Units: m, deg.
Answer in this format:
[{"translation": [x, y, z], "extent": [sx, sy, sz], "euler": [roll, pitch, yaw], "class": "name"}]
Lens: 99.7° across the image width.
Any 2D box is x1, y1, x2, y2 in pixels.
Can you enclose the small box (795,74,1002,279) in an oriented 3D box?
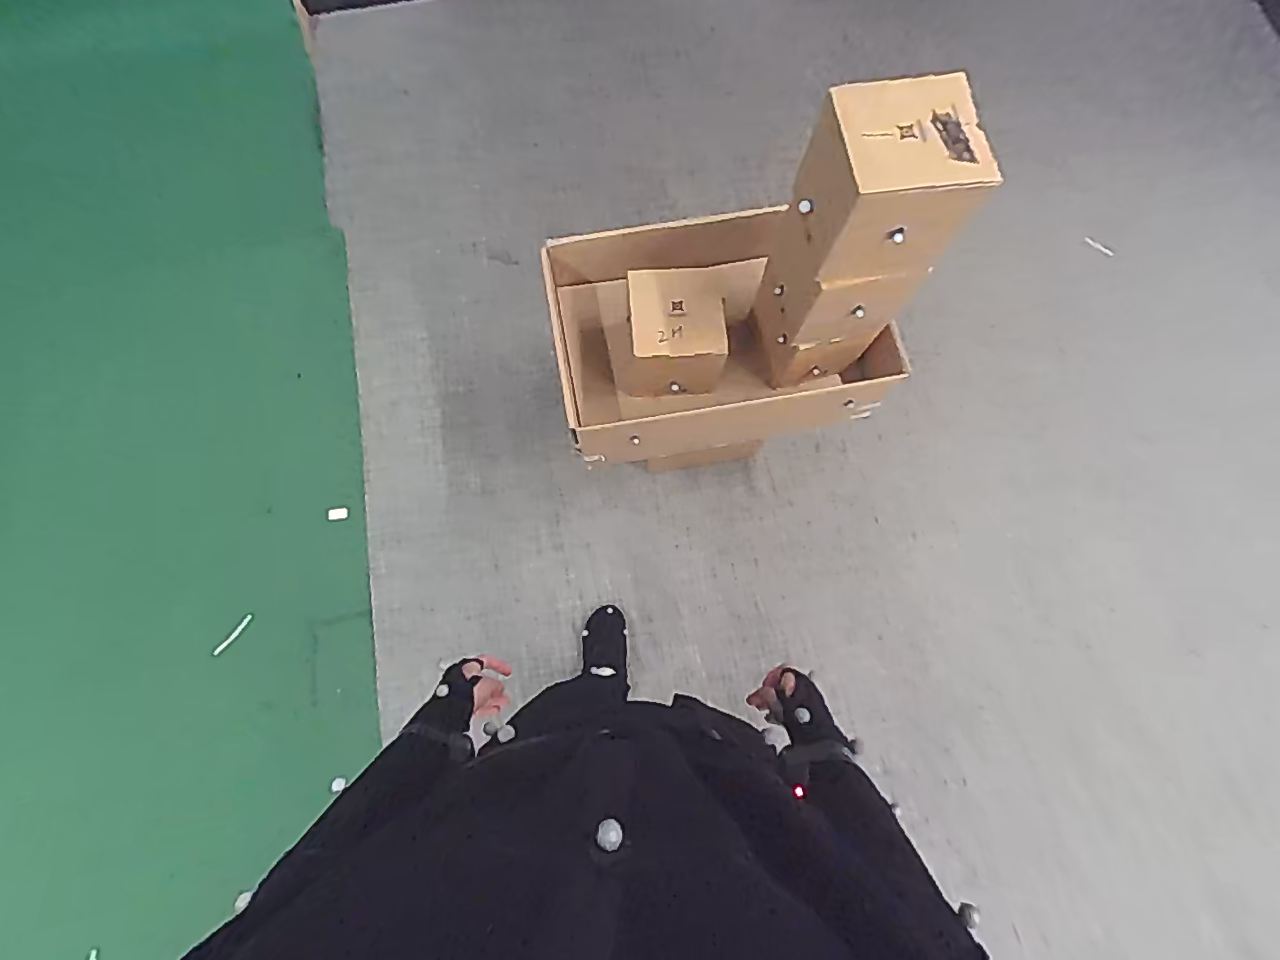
[{"translation": [0.328, -0.394, 0.723], "extent": [0.179, 0.176, 0.168], "euler": [-7, 75, -2], "class": "small box"}]
